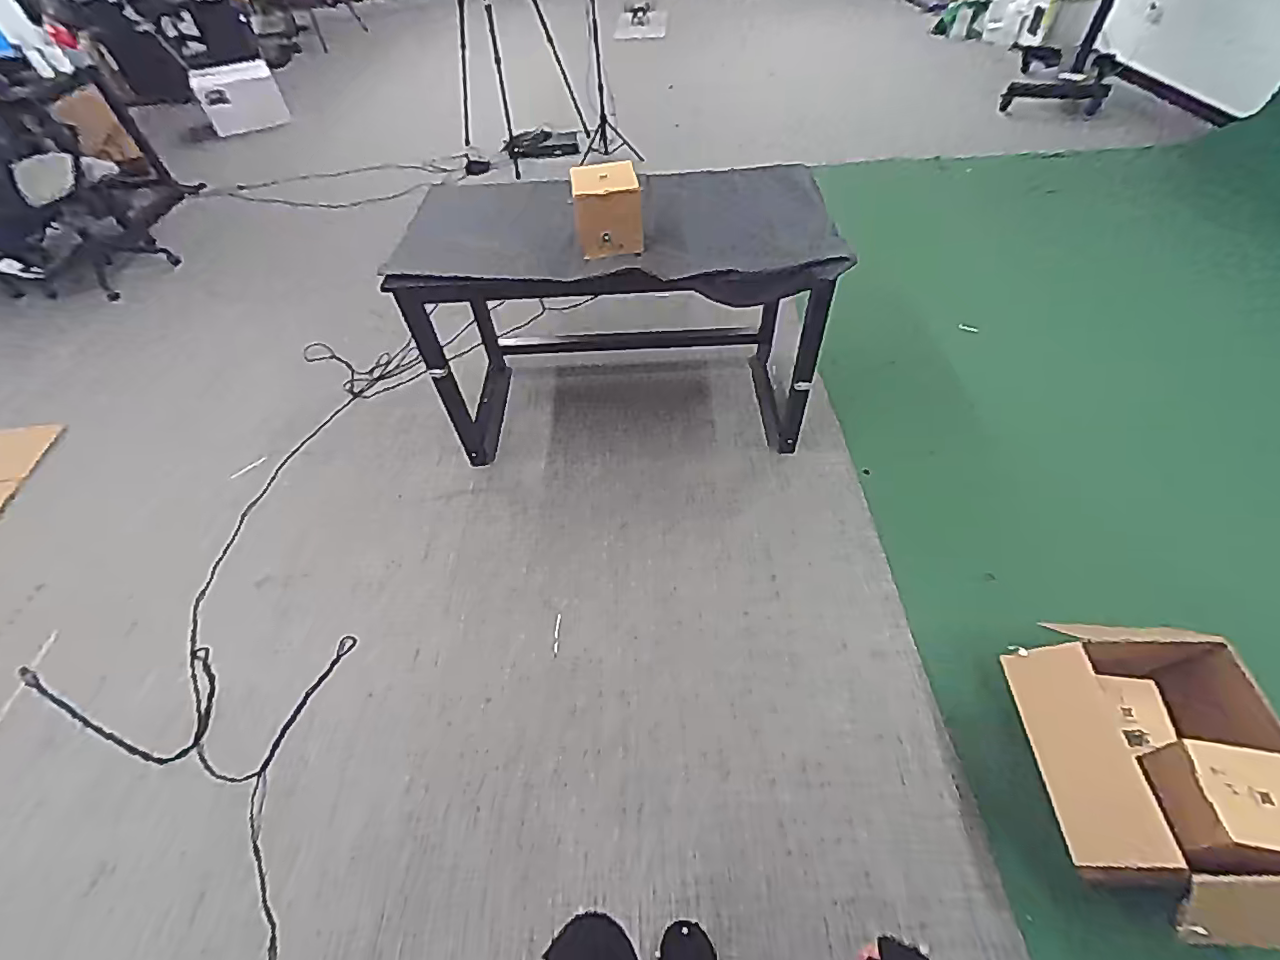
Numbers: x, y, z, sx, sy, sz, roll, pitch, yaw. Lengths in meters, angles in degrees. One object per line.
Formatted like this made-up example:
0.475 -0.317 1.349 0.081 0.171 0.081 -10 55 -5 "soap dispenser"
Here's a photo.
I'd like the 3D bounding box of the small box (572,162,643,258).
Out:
-0.087 -0.713 1.431 0.168 0.176 0.179 -8 51 -3 "small box"
